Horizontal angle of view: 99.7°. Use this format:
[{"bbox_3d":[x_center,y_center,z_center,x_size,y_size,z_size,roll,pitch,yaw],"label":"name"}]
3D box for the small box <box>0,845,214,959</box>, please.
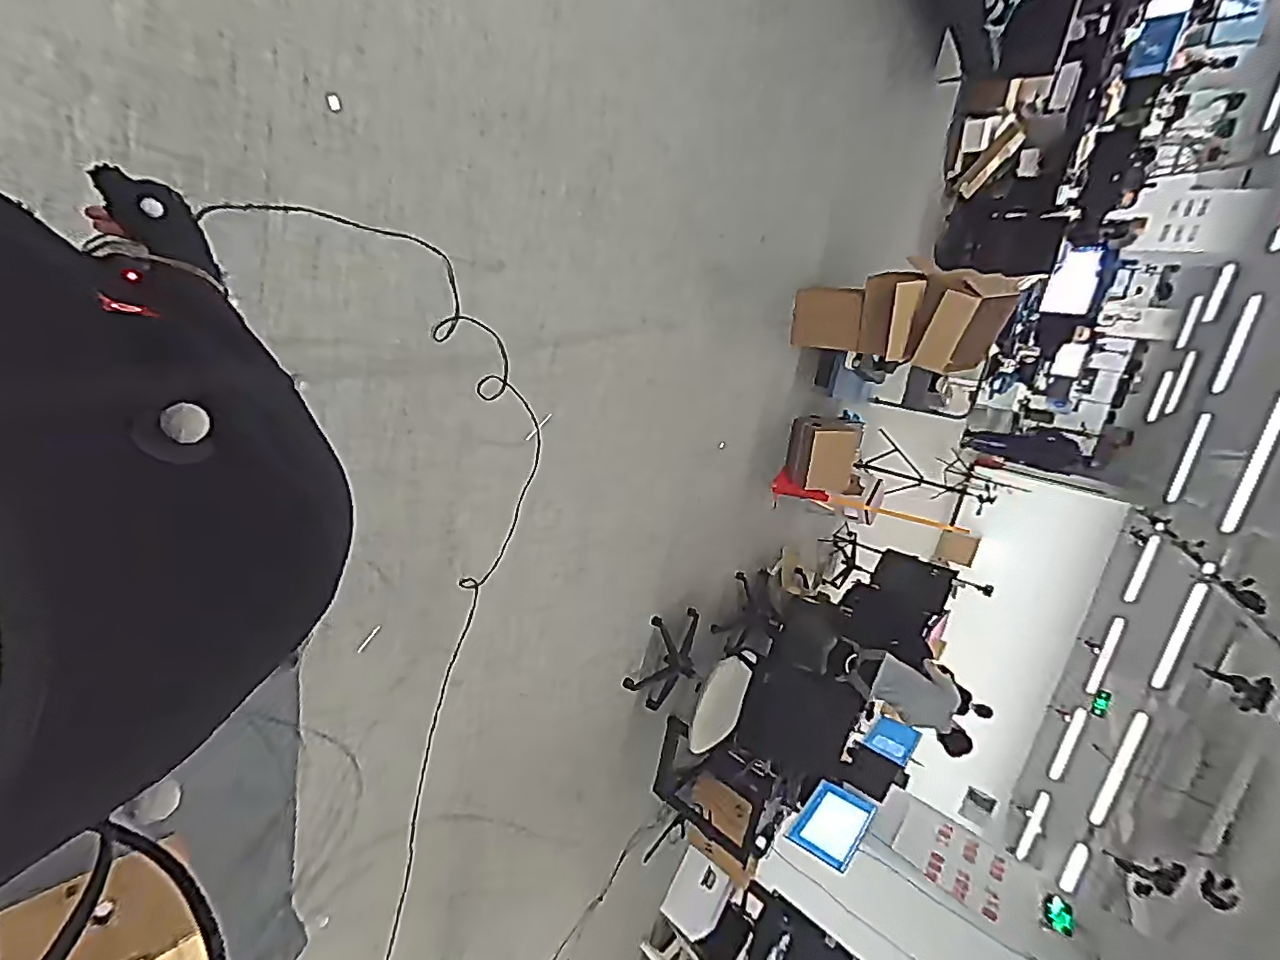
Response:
[{"bbox_3d":[-0.630,0.582,0.641,0.168,0.176,0.179,-7,111,-50],"label":"small box"}]
